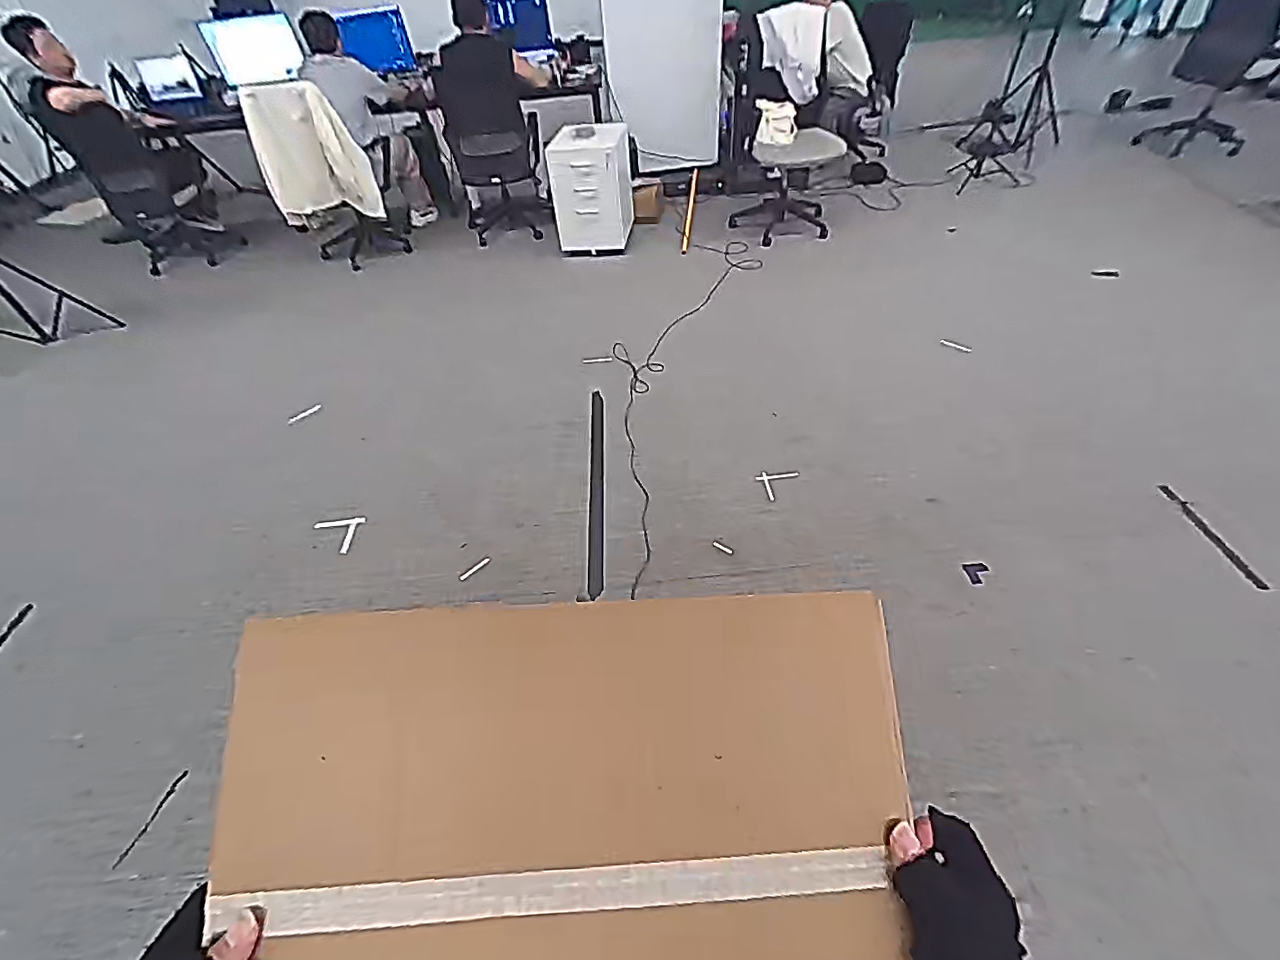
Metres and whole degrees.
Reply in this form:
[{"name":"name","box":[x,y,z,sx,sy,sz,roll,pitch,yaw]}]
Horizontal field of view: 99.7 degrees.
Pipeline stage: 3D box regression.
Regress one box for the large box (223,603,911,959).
[{"name":"large box","box":[-0.044,0.280,0.466,0.408,0.320,0.320,-2,75,-3]}]
